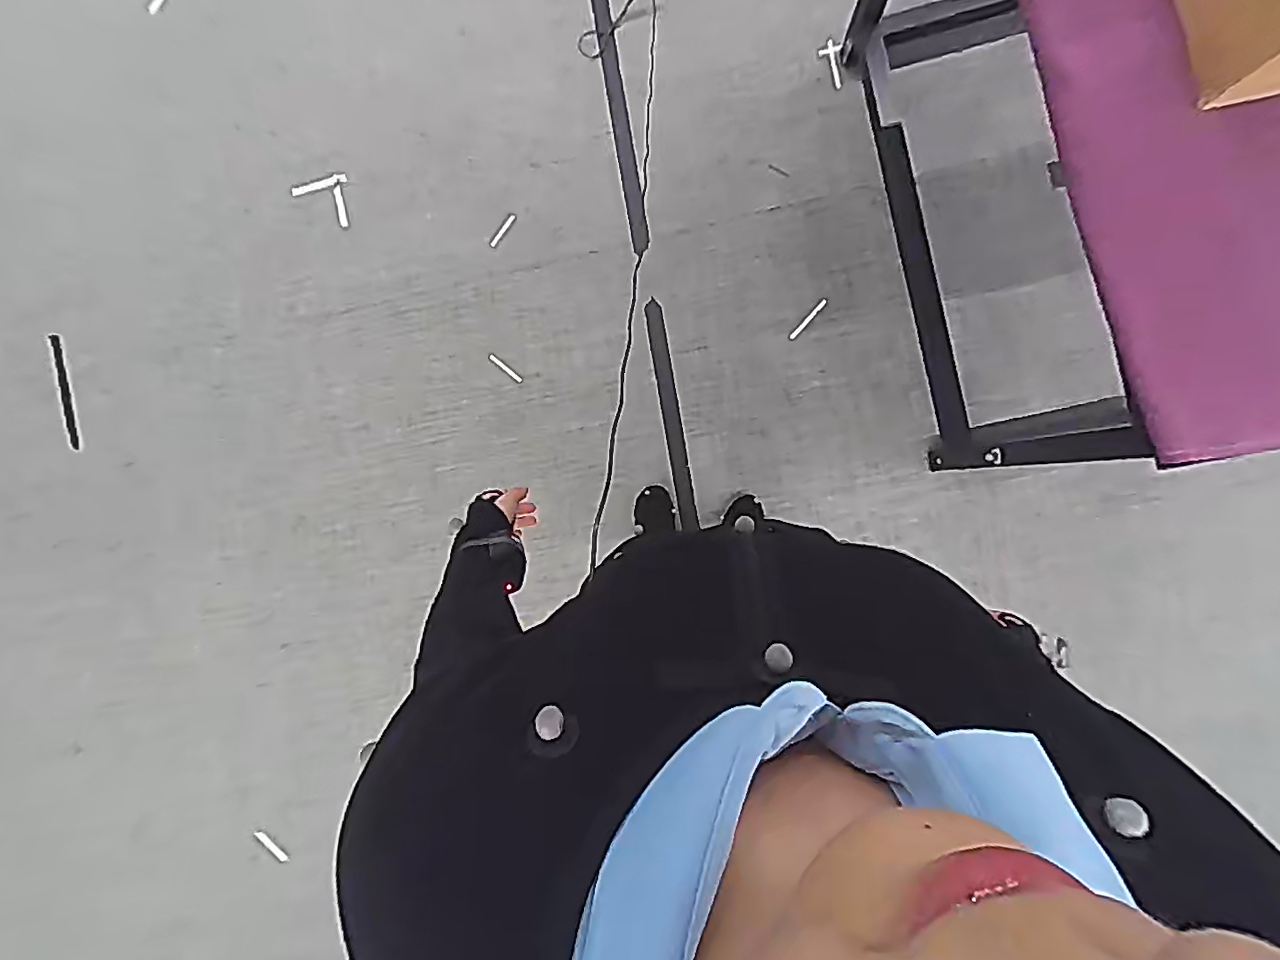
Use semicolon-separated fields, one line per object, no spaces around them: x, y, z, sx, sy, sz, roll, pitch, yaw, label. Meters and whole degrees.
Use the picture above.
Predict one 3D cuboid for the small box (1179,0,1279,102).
0.813;-0.593;0.645;0.168;0.176;0.179;-10;88;5;small box
